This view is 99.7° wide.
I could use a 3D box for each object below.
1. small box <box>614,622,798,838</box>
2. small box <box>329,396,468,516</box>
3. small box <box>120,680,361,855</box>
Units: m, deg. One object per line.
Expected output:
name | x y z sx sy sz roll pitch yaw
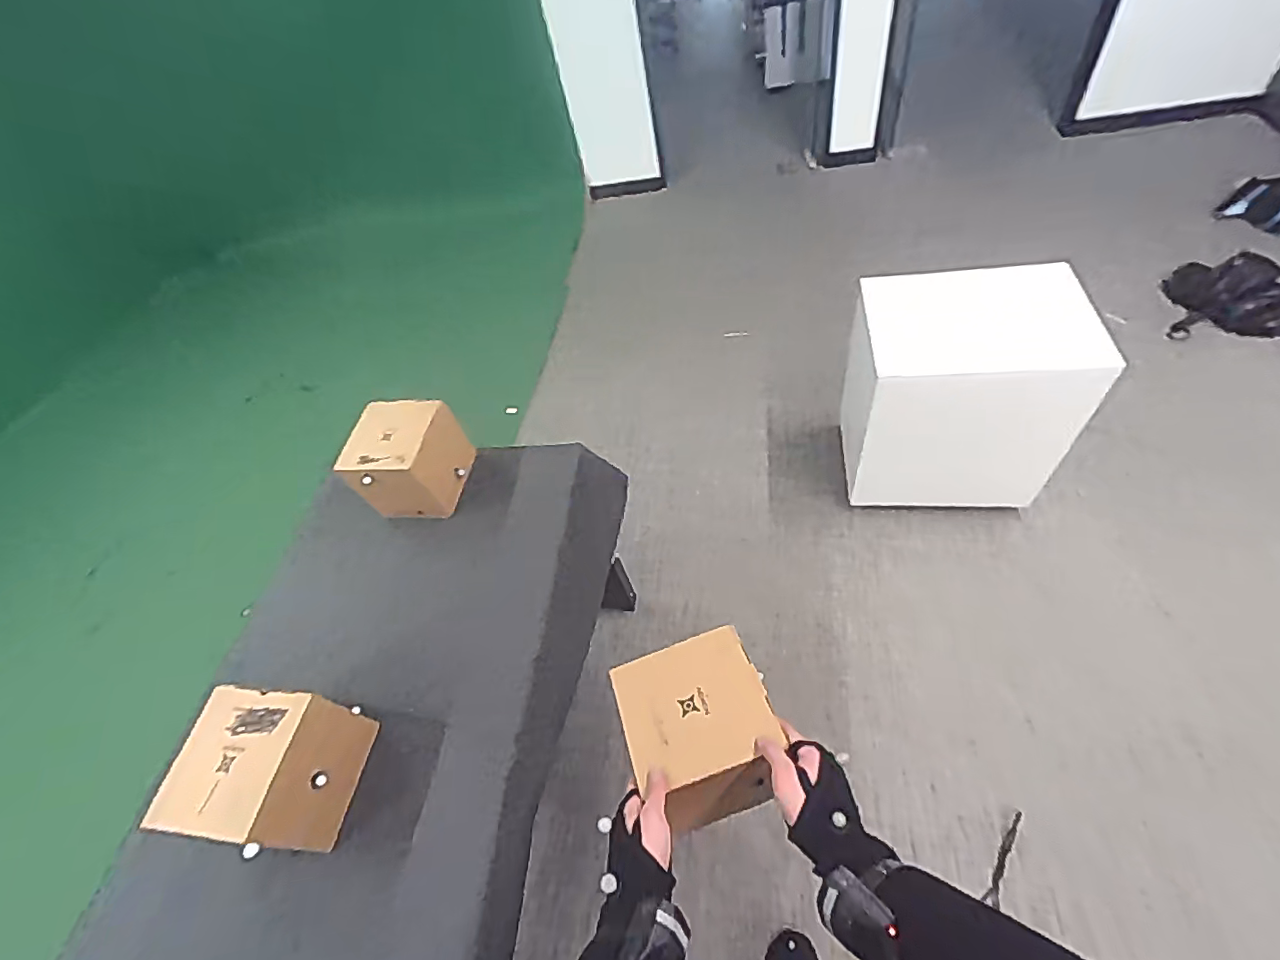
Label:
small box | 0.085 0.318 0.687 0.179 0.176 0.168 -21 41 -2
small box | -0.466 -0.048 1.081 0.168 0.176 0.179 1 52 12
small box | -0.523 0.396 0.744 0.168 0.176 0.179 0 53 12
